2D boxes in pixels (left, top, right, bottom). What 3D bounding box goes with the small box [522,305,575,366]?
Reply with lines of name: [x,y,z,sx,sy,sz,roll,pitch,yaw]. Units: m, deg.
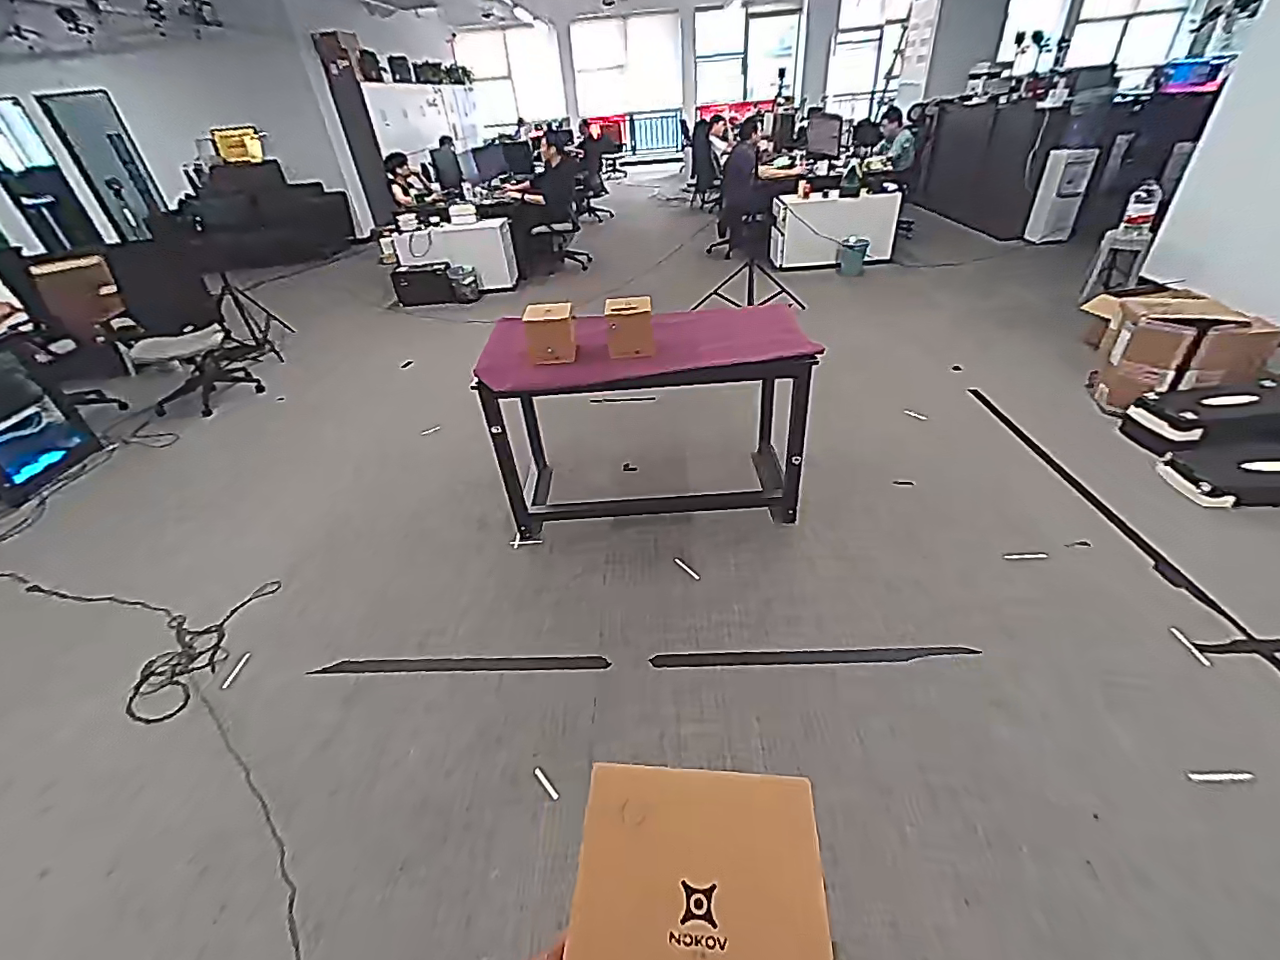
small box: [-0.334,-0.537,2.007,0.168,0.176,0.179,-4,36,0]
